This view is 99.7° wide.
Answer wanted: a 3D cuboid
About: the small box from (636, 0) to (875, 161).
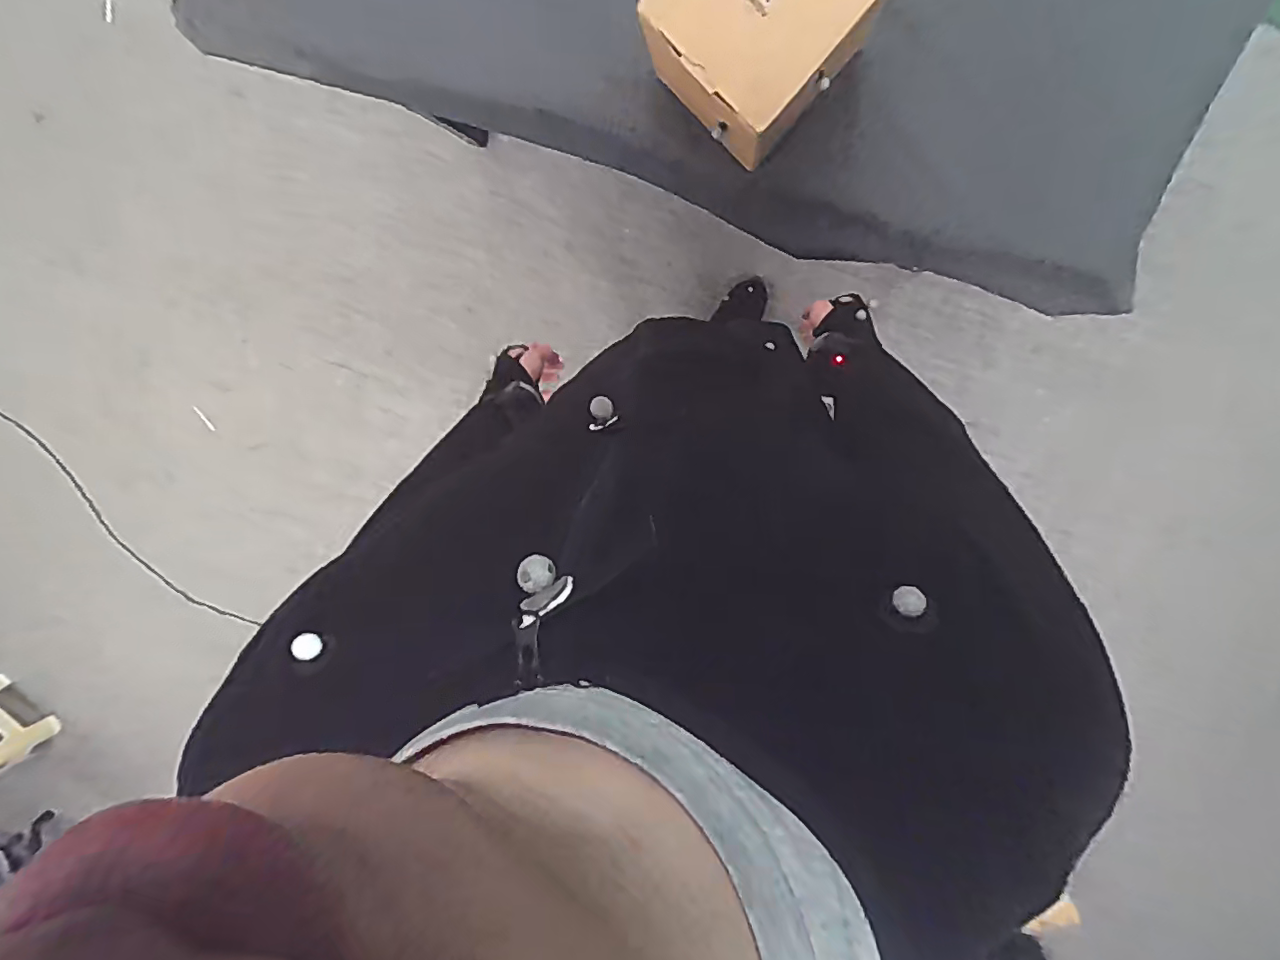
[{"bbox_3d":[0.122,-0.470,0.557,0.168,0.176,0.179,42,109,-8],"label":"small box"}]
